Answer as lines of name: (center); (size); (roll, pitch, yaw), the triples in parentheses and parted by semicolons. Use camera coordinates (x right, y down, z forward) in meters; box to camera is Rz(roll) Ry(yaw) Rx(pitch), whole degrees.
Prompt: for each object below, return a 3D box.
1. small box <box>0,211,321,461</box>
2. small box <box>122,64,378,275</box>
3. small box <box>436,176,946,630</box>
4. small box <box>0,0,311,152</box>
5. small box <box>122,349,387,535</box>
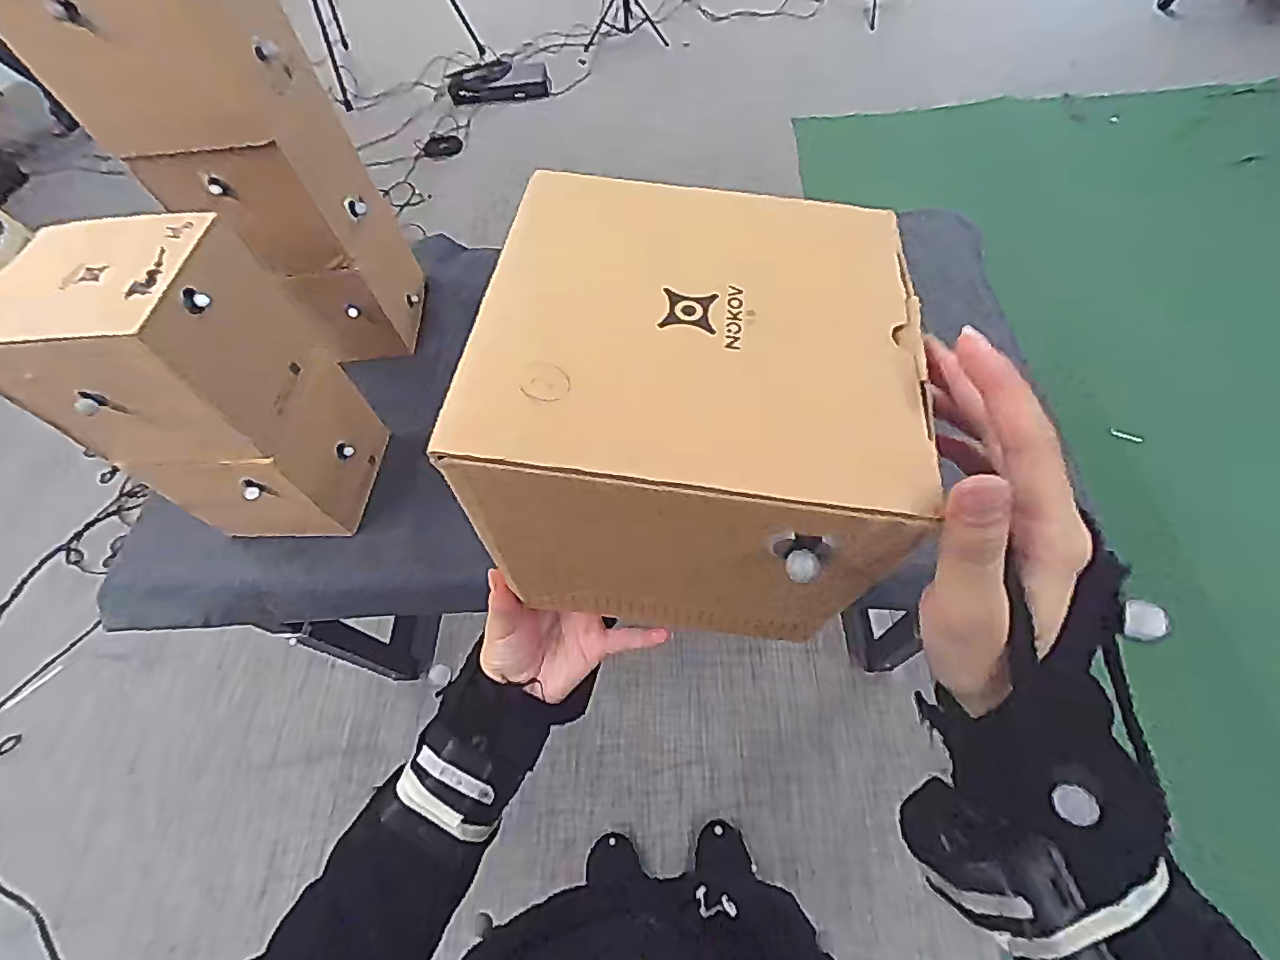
small box: (-0.463, -0.130, 0.530); (0.179, 0.176, 0.168); (-4, 58, 3)
small box: (-0.463, -0.379, 0.677); (0.179, 0.176, 0.168); (-5, 62, 1)
small box: (0.023, -0.028, 0.289); (0.179, 0.176, 0.168); (7, 60, 2)
small box: (-0.472, -0.450, 0.529); (0.179, 0.176, 0.168); (-3, 62, 2)
small box: (-0.446, -0.041, 0.666); (0.179, 0.176, 0.168); (-1, 58, 5)
